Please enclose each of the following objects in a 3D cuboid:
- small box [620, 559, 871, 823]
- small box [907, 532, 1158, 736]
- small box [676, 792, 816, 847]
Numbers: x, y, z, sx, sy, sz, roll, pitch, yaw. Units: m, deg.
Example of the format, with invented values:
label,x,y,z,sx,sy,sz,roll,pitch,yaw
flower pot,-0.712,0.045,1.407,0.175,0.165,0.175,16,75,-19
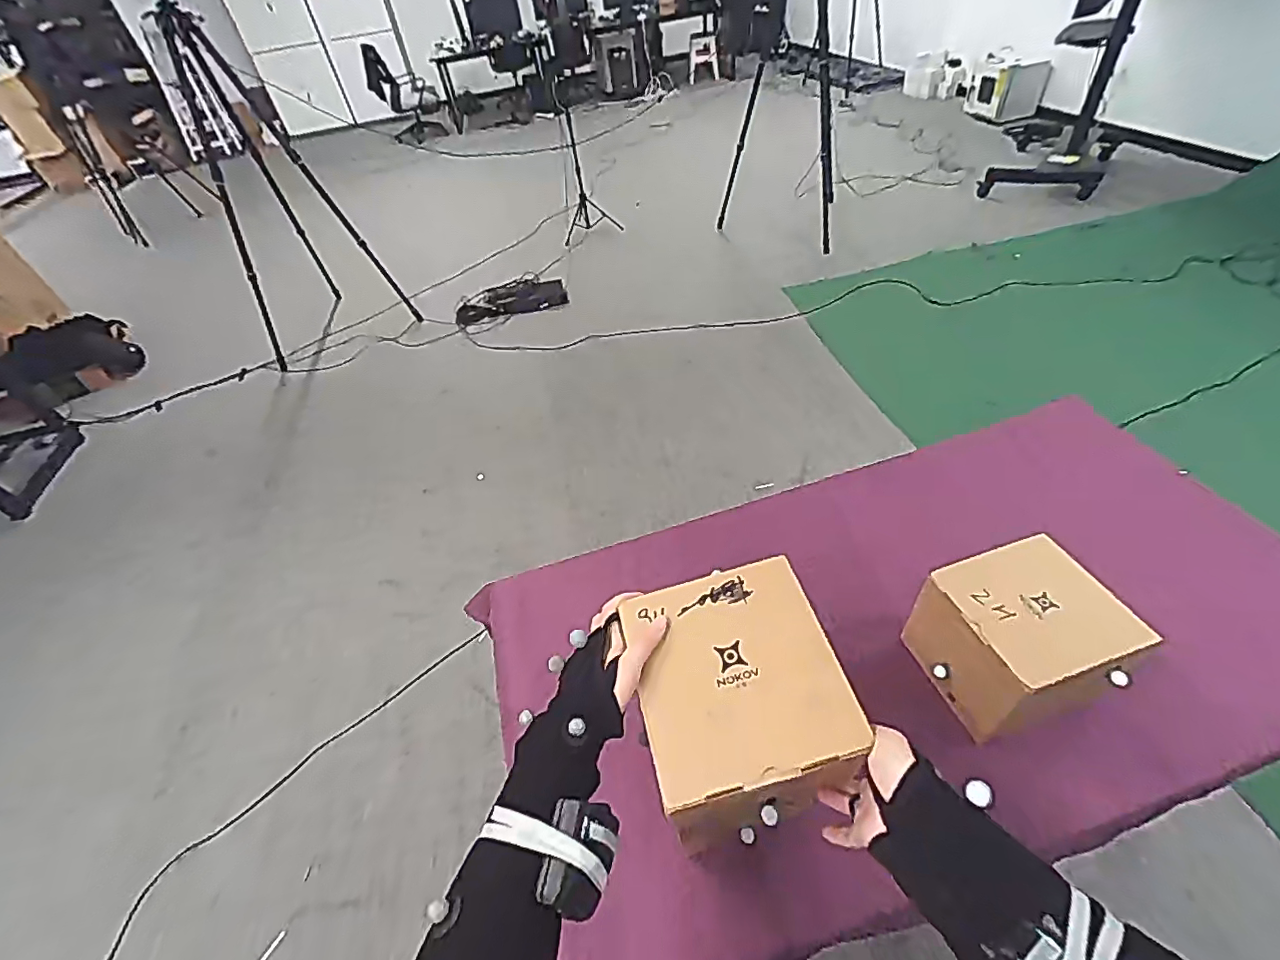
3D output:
label,x,y,z,sx,sy,sz,roll,pitch,yaw
small box,0.090,0.207,0.516,0.168,0.176,0.179,-16,51,-3
small box,0.484,0.201,0.702,0.179,0.176,0.168,-17,45,-6
small box,0.103,0.314,0.663,0.168,0.176,0.179,-16,46,-5
